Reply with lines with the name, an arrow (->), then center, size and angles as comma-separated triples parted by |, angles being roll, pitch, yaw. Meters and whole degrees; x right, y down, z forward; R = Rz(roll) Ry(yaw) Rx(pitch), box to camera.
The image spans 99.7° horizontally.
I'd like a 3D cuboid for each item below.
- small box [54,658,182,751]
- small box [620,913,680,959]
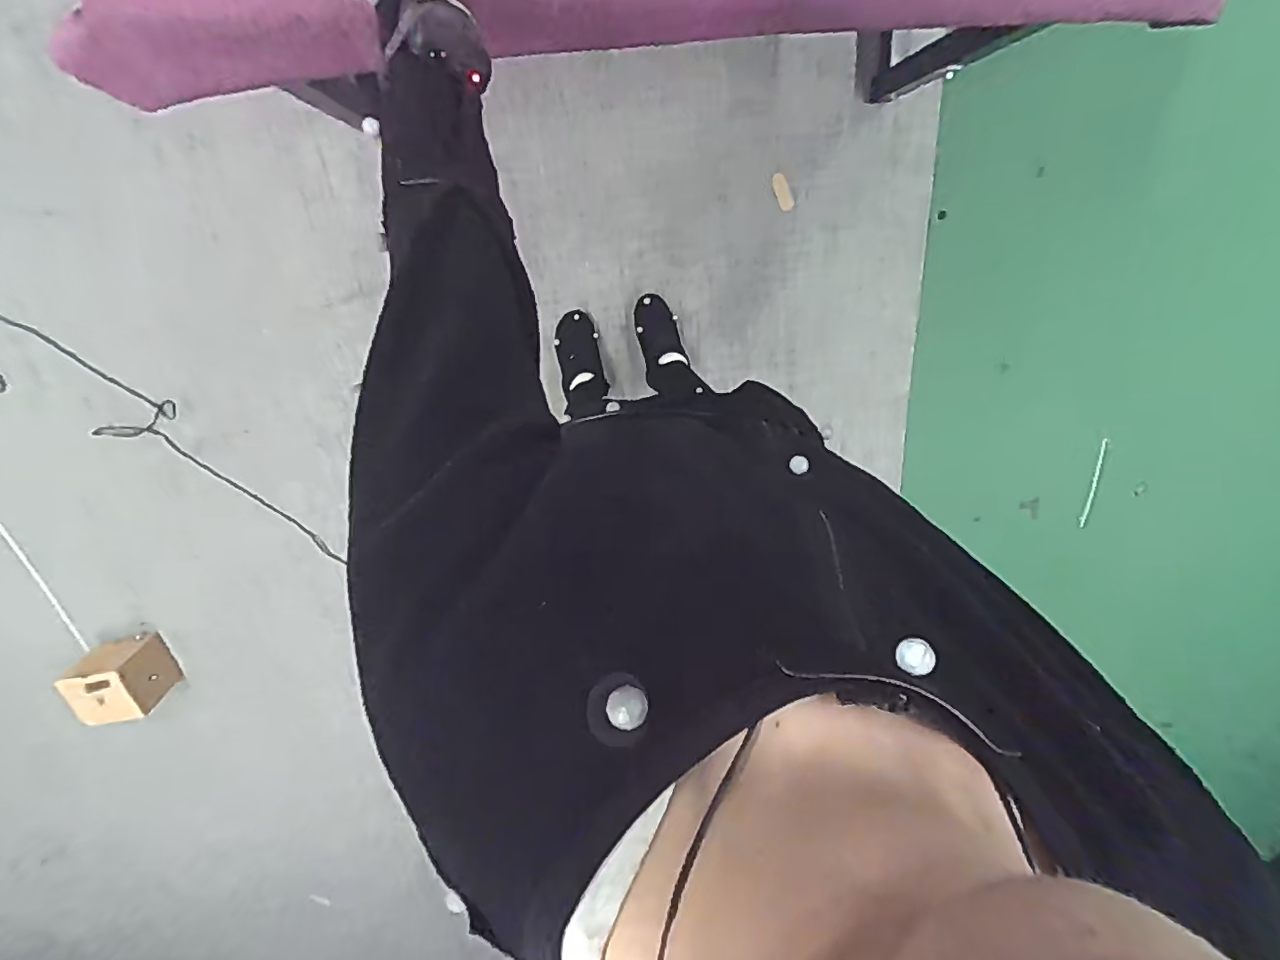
small box -> -1.485, 0.634, 1.553 | 0.168, 0.176, 0.179 | -10, 114, -2
small box -> 0.035, 1.447, 1.617 | 0.168, 0.176, 0.179 | -7, 114, -6
